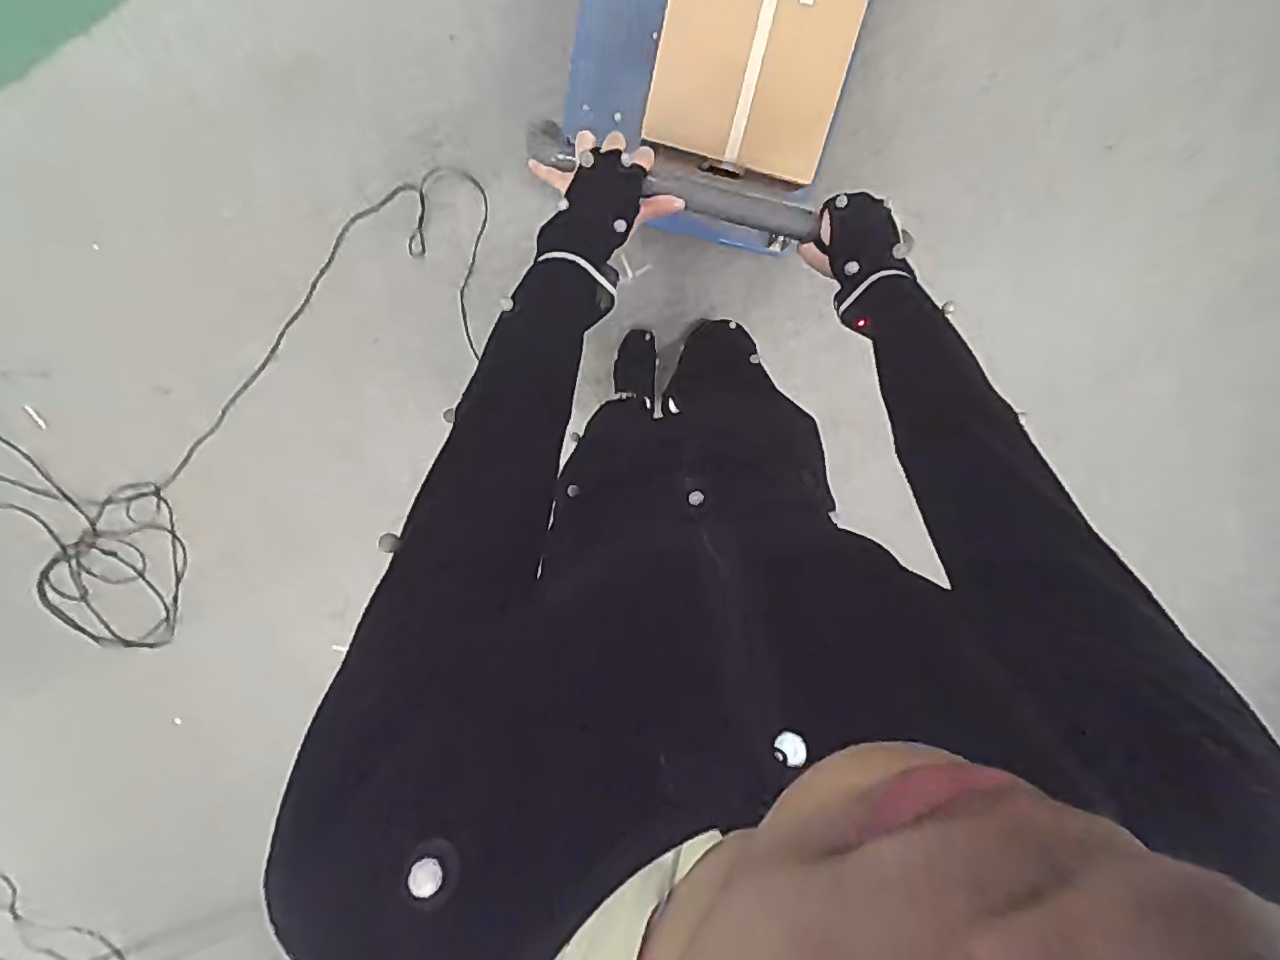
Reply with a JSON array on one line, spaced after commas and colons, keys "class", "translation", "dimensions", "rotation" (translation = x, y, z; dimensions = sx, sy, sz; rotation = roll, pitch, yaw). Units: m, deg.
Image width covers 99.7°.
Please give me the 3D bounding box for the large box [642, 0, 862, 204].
[{"class": "large box", "translation": [0.192, -0.793, 1.030], "dimensions": [0.320, 0.320, 0.408], "rotation": [12, 109, -6]}]
